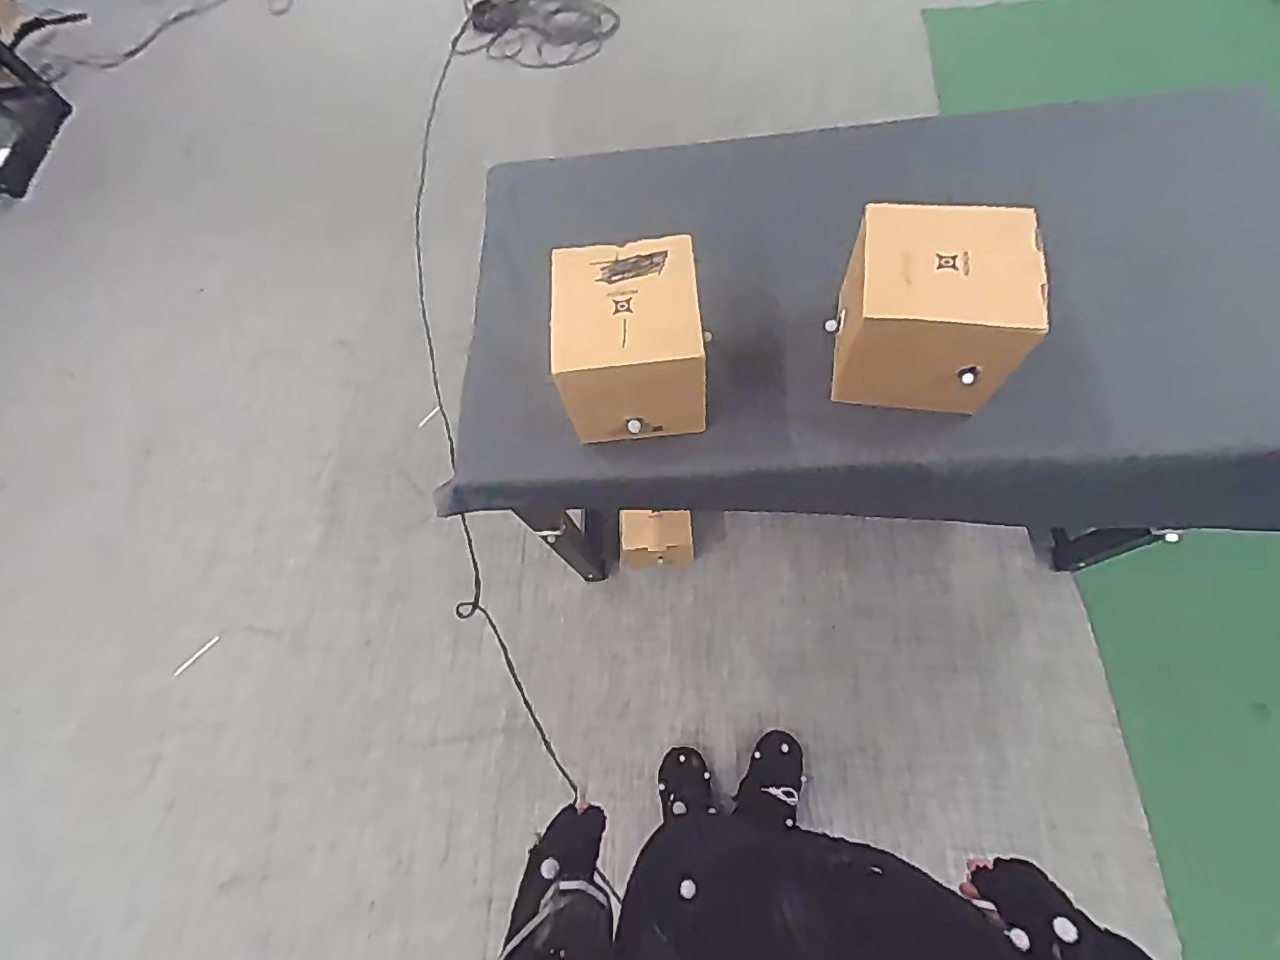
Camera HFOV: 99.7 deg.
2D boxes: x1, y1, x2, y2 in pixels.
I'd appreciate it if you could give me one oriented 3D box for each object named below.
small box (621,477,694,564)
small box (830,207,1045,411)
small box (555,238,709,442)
[{"bbox_3d":[0.046,0.109,1.353,0.168,0.176,0.179,-5,67,5],"label":"small box"},{"bbox_3d":[0.339,-0.197,0.651,0.179,0.176,0.168,6,67,11],"label":"small box"},{"bbox_3d":[-0.005,-0.167,0.677,0.168,0.176,0.179,-5,66,5],"label":"small box"}]
